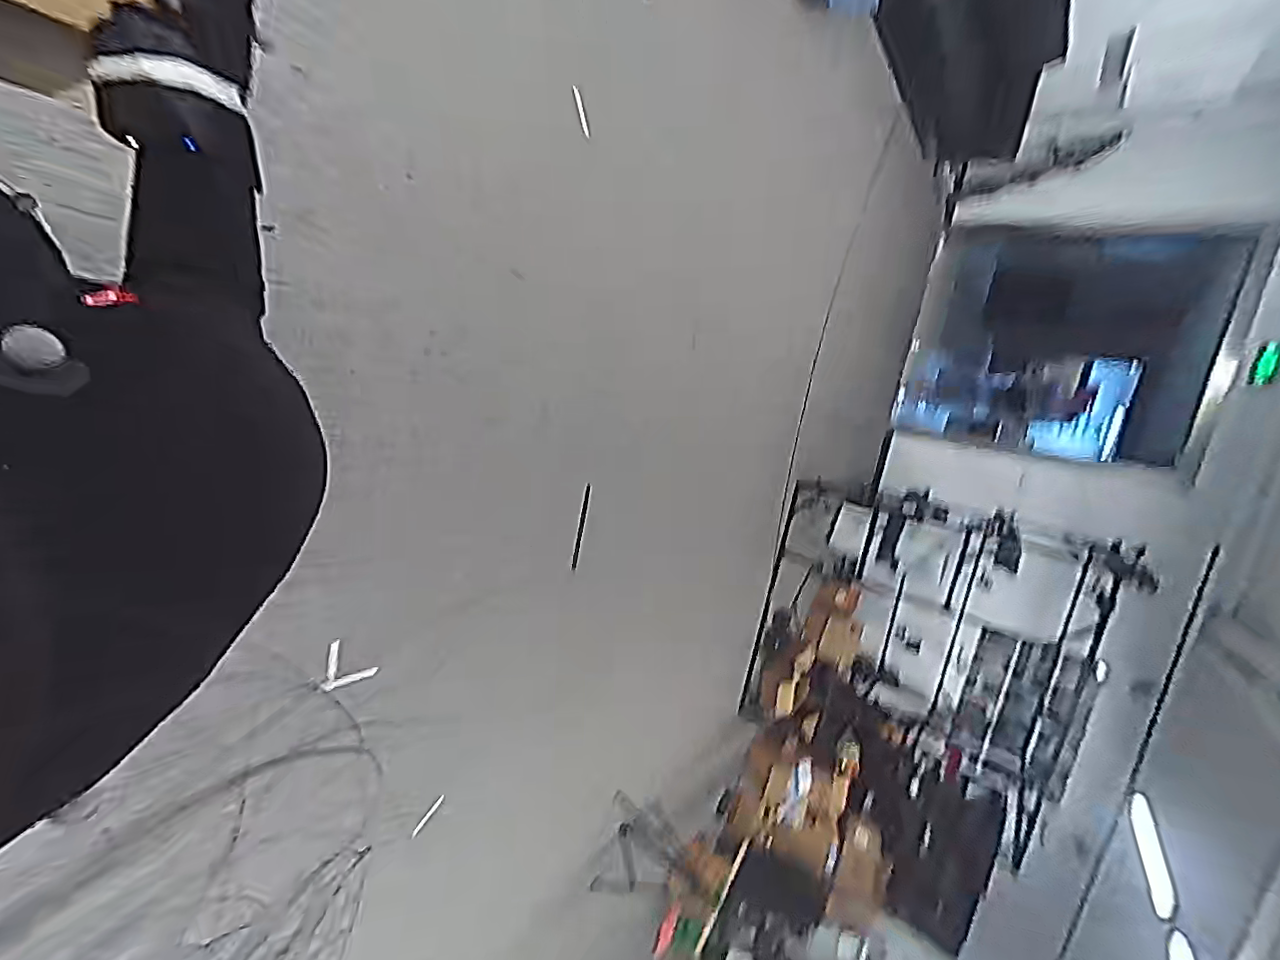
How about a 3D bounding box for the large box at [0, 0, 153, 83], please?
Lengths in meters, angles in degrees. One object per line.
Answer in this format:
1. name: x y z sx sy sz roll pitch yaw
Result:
1. large box: -0.536 -0.462 0.246 0.408 0.320 0.320 -8 115 -56
